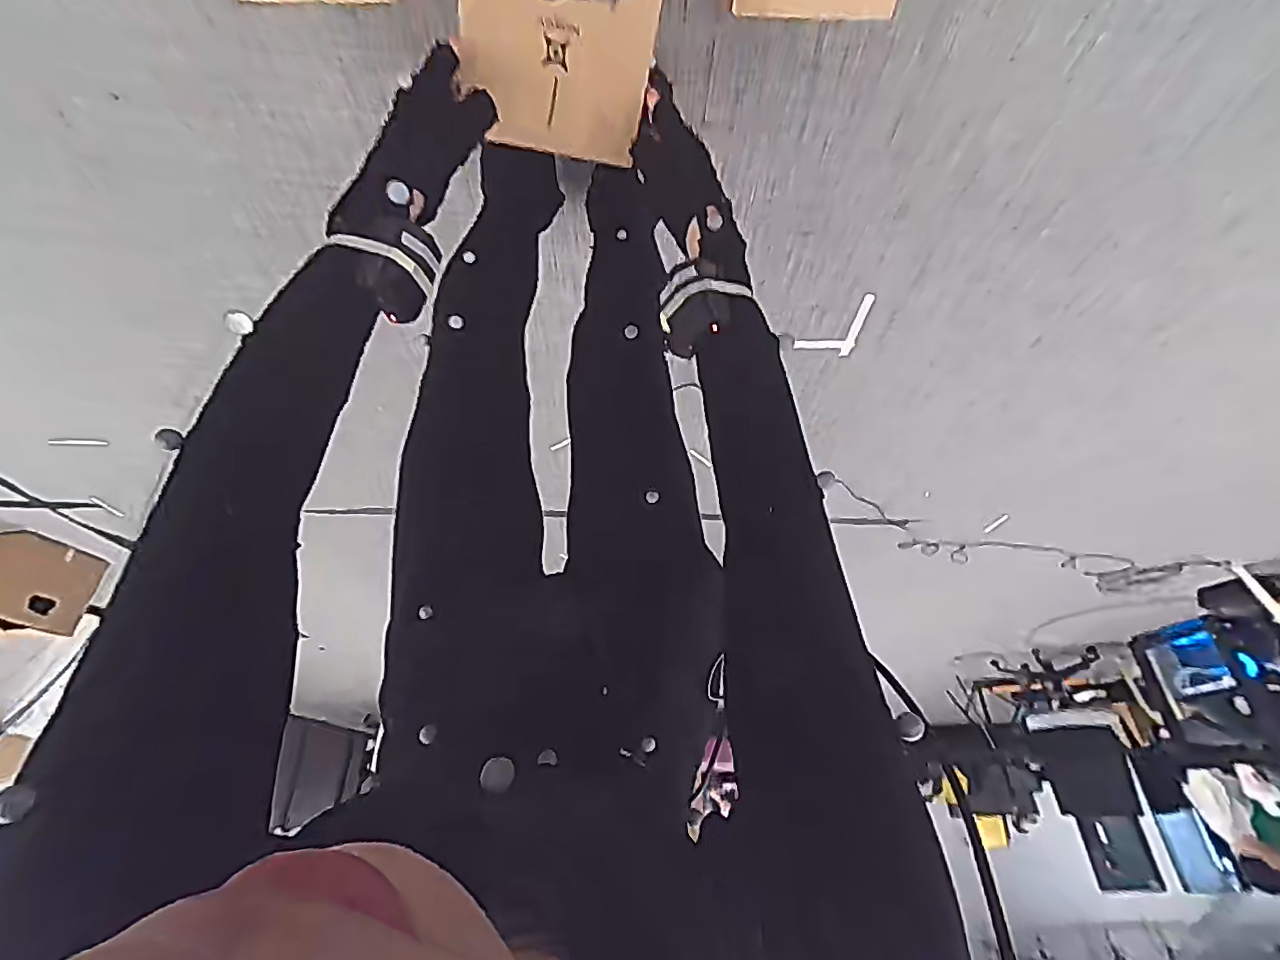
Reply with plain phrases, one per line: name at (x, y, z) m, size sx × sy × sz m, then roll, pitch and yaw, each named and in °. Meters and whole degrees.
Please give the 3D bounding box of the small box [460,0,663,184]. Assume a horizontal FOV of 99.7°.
small box at (-0.081, -0.422, 0.526) m, size 0.168 × 0.176 × 0.179 m, roll 4°, pitch 135°, yaw -13°

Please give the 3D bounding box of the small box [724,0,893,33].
small box at (0.177, -0.596, 0.555) m, size 0.179 × 0.176 × 0.168 m, roll -1°, pitch 150°, yaw -1°
